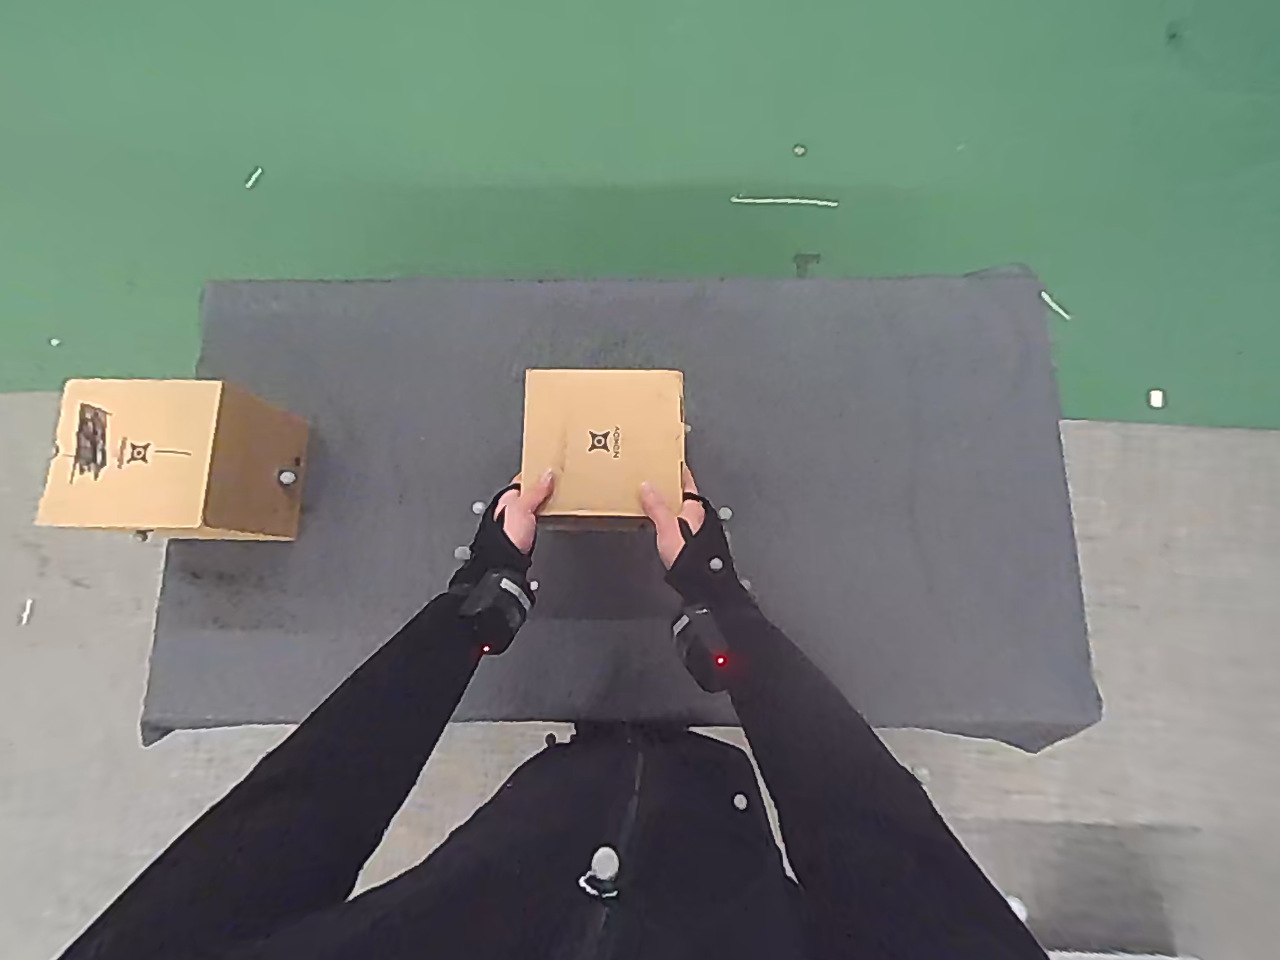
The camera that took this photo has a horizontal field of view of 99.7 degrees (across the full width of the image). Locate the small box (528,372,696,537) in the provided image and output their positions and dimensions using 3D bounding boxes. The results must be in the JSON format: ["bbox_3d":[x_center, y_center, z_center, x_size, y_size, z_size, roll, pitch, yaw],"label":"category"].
[{"bbox_3d":[-0.029,-0.022,0.653,0.179,0.176,0.168,0,78,1],"label":"small box"}]

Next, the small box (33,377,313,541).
[{"bbox_3d":[-0.534,-0.015,0.646,0.179,0.176,0.168,1,80,-1],"label":"small box"}]
